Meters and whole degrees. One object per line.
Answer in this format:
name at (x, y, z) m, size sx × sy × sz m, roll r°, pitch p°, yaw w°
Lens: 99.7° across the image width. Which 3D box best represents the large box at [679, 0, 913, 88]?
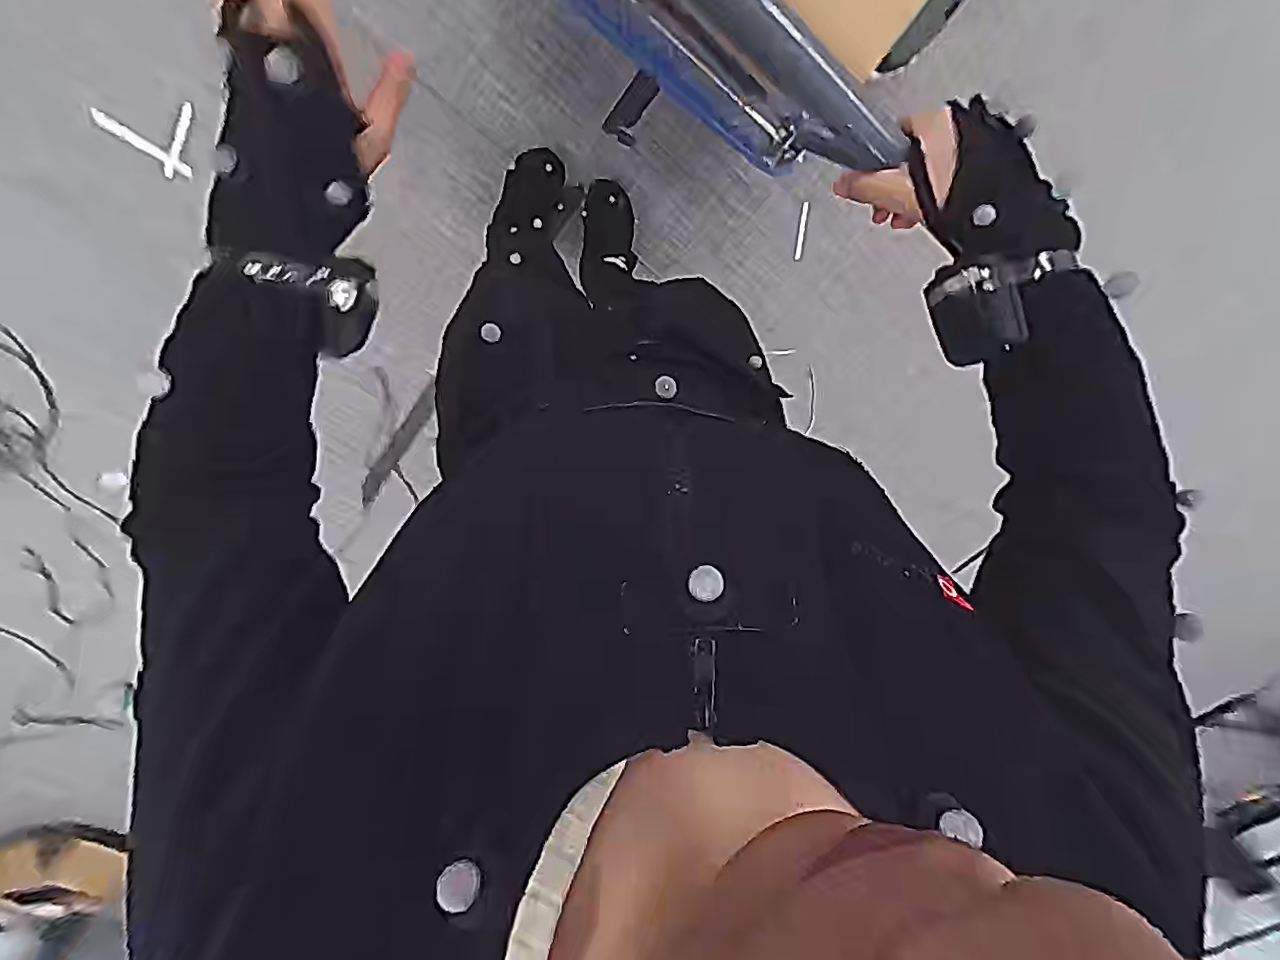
large box at (0.160, -0.758, 0.644) m, size 0.408 × 0.320 × 0.320 m, roll 25°, pitch 119°, yaw -27°
